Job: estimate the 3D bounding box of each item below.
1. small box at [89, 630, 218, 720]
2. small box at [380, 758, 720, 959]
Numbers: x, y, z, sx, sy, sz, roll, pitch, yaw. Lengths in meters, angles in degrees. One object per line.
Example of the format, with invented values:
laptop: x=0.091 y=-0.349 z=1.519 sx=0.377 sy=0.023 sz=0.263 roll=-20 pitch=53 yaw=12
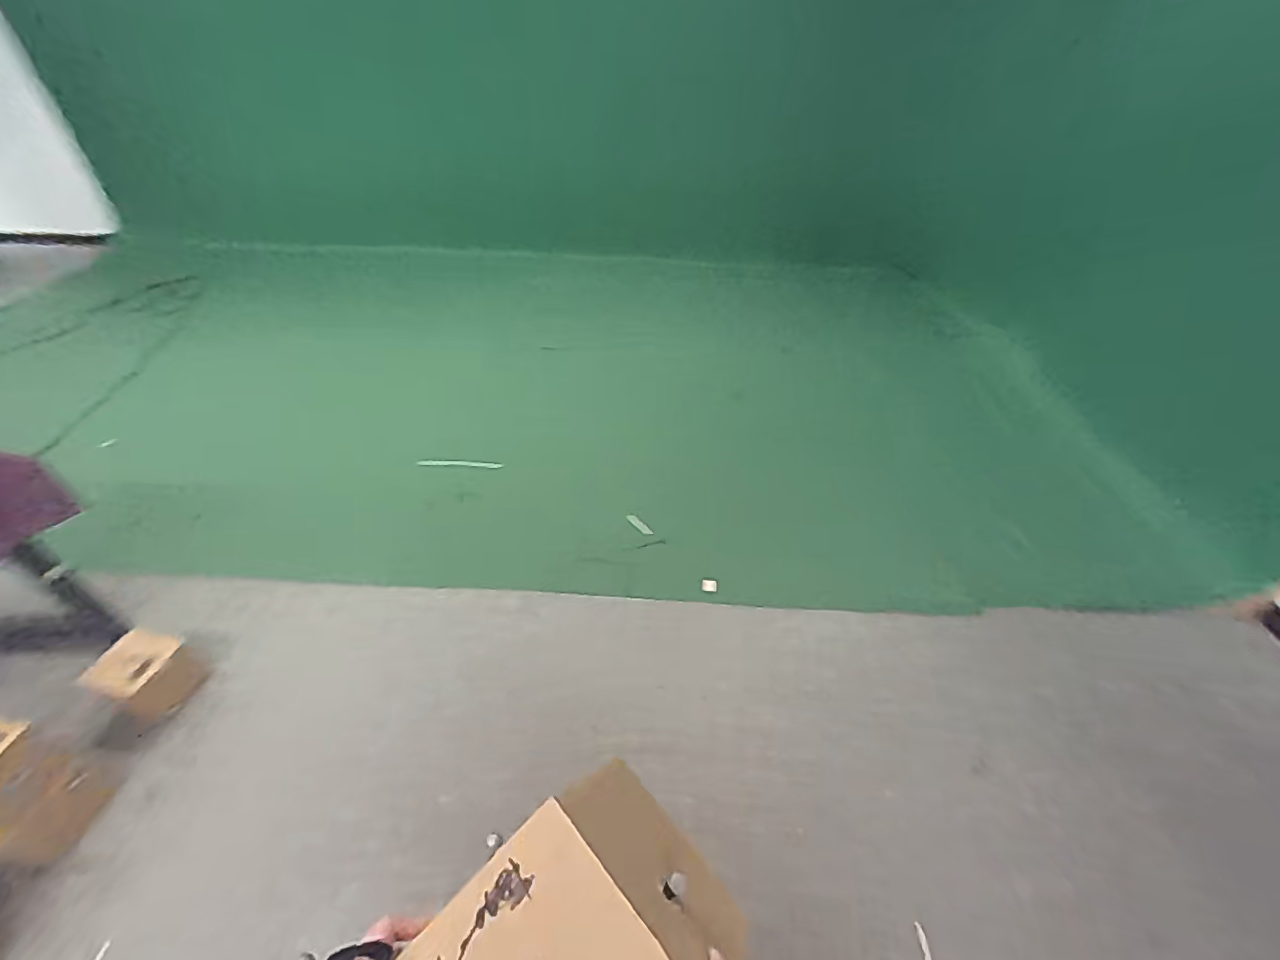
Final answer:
small box: x=-1.352 y=0.551 z=1.519 sx=0.179 sy=0.176 sz=0.168 roll=8 pitch=42 yaw=9
small box: x=-0.053 y=0.353 z=0.421 sx=0.179 sy=0.176 sz=0.168 roll=42 pitch=86 yaw=19
